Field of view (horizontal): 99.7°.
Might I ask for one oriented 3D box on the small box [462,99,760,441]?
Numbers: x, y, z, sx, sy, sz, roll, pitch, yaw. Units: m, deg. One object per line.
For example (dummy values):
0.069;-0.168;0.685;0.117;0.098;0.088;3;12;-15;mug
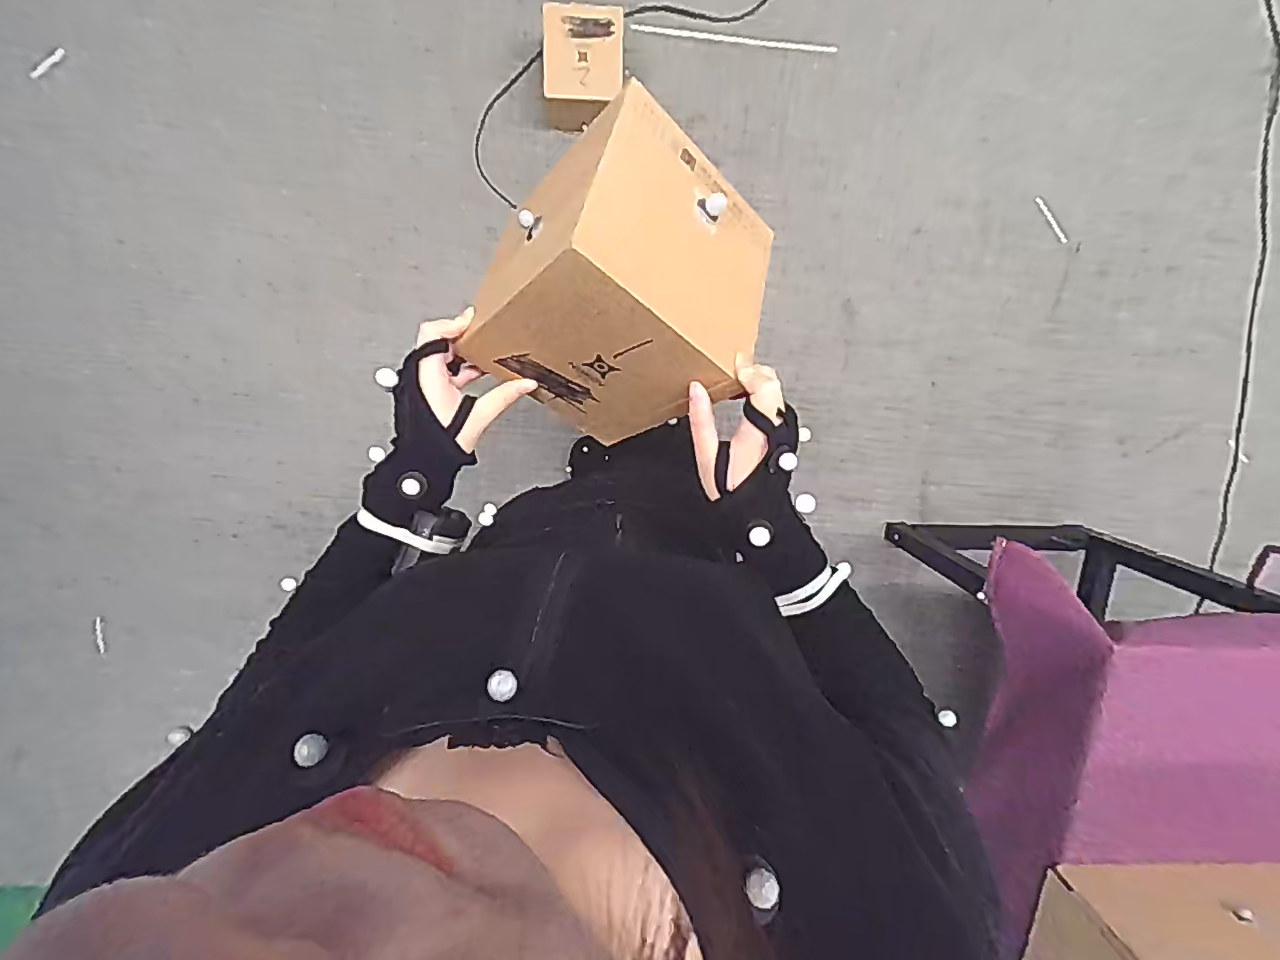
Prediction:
-0.018;-0.161;0.462;0.168;0.179;0.176;30;60;-31;small box
